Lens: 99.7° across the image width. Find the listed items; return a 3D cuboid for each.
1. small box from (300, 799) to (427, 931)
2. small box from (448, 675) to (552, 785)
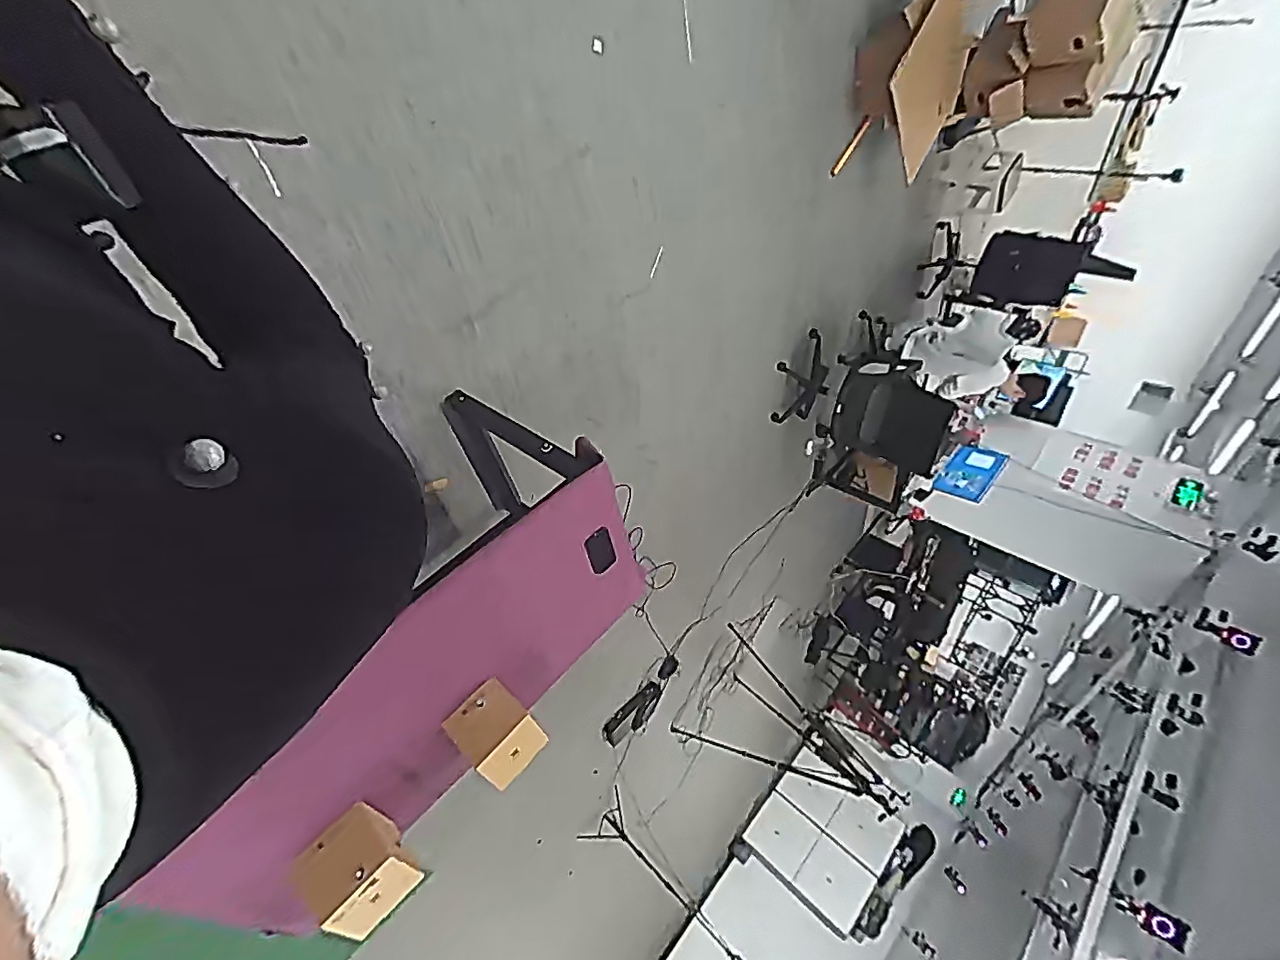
[{"bbox_3d":[-0.627,0.870,1.231,0.168,0.176,0.179,-40,140,-27],"label":"small box"},{"bbox_3d":[-0.361,0.641,1.399,0.168,0.176,0.179,-42,140,-25],"label":"small box"}]
